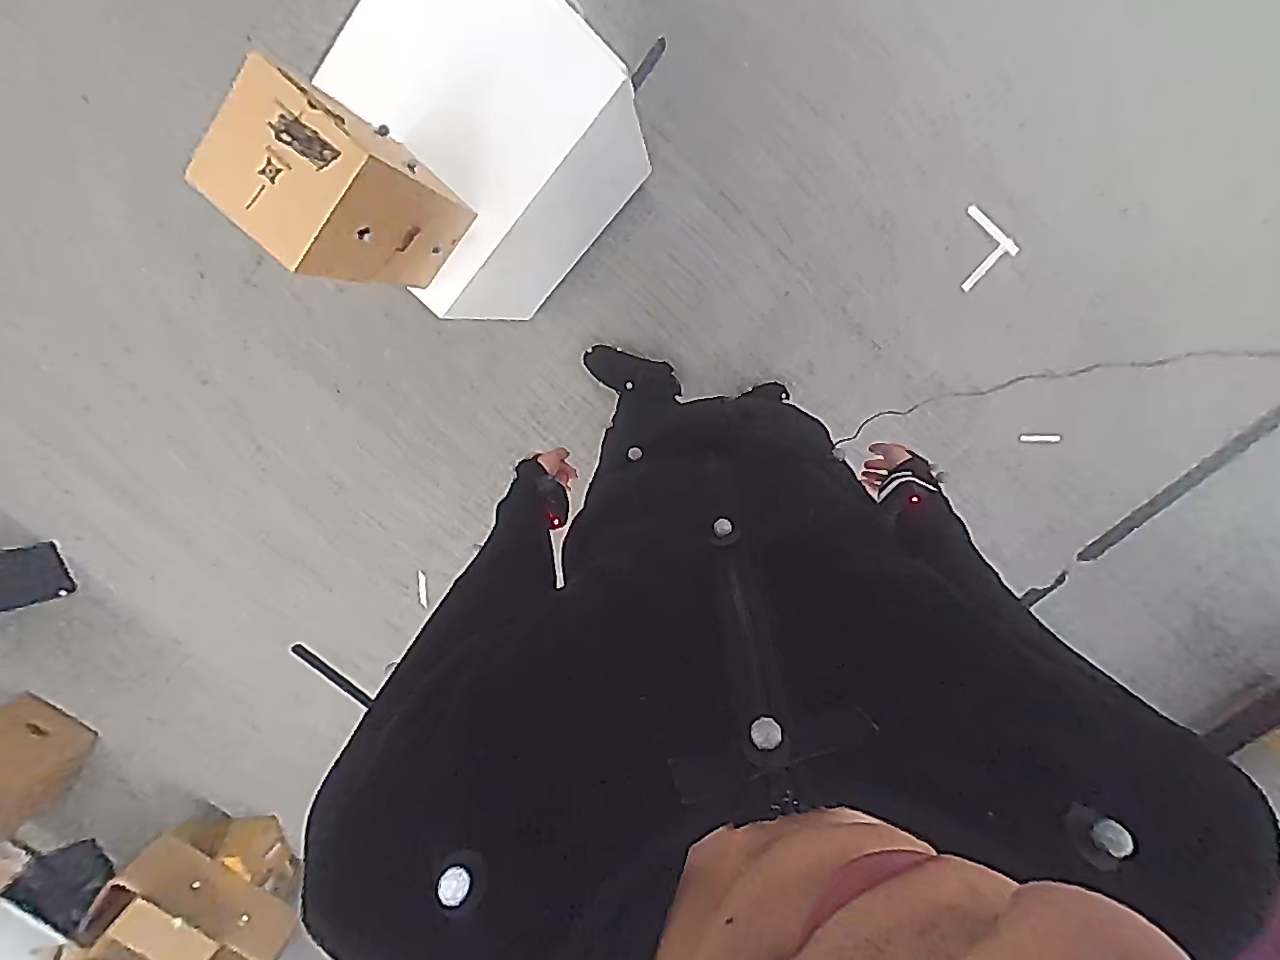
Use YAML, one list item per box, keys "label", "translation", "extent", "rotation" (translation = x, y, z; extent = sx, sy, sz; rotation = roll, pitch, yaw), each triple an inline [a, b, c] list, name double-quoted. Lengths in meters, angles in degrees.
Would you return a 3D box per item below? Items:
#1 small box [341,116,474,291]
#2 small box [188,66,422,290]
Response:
- label: "small box"
  translation: [-0.406, -0.424, 0.868]
  extent: [0.179, 0.176, 0.168]
  rotation: [42, 106, -6]
- label: "small box"
  translation: [-0.419, -0.374, 0.711]
  extent: [0.168, 0.176, 0.179]
  rotation: [42, 106, -6]
